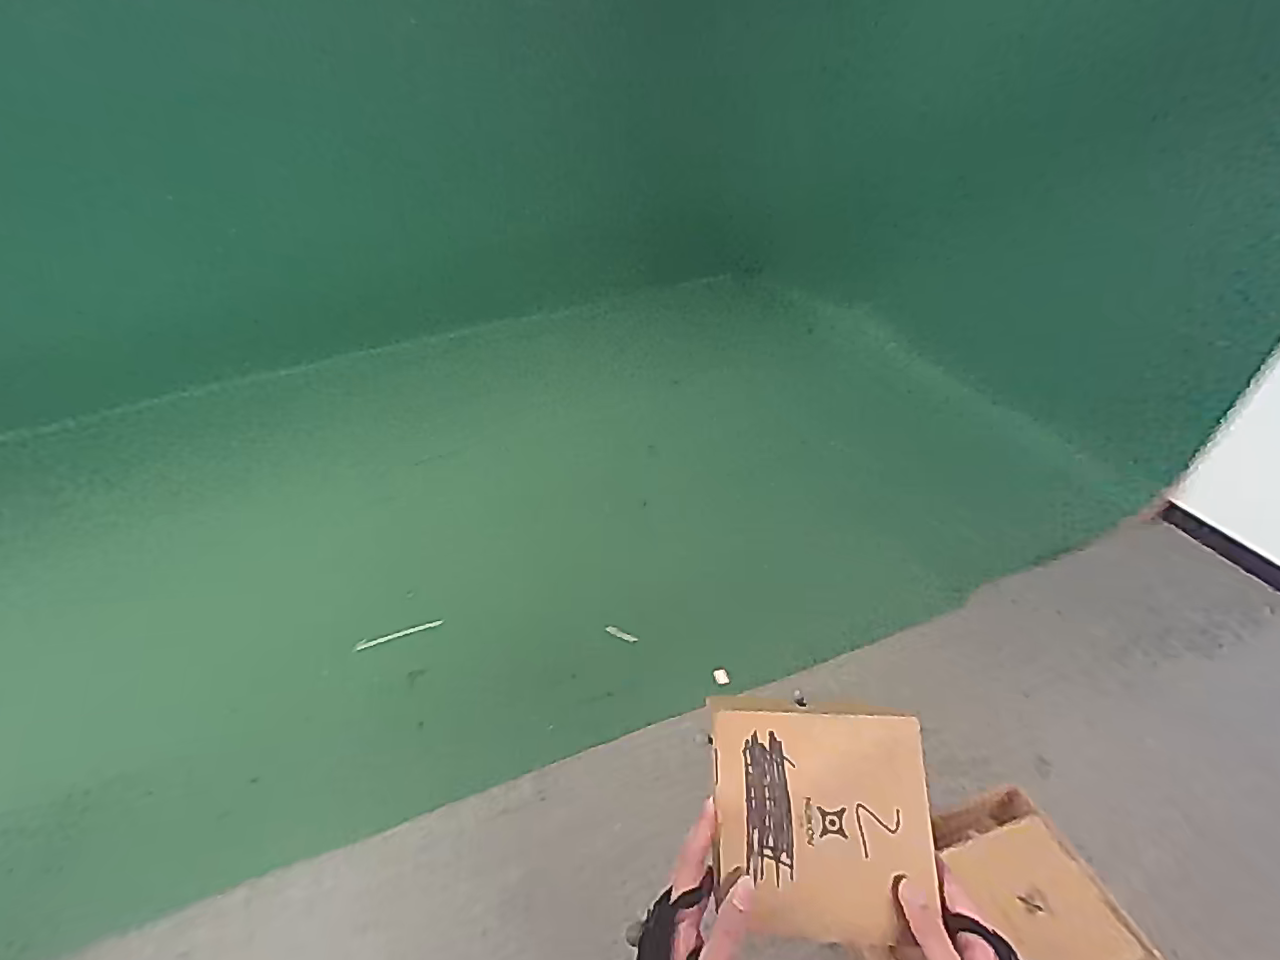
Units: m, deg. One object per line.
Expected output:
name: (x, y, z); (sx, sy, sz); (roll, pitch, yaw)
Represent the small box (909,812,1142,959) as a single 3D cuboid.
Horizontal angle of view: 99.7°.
small box: (0.512, 0.601, 0.751); (0.179, 0.176, 0.168); (-14, 41, -8)
